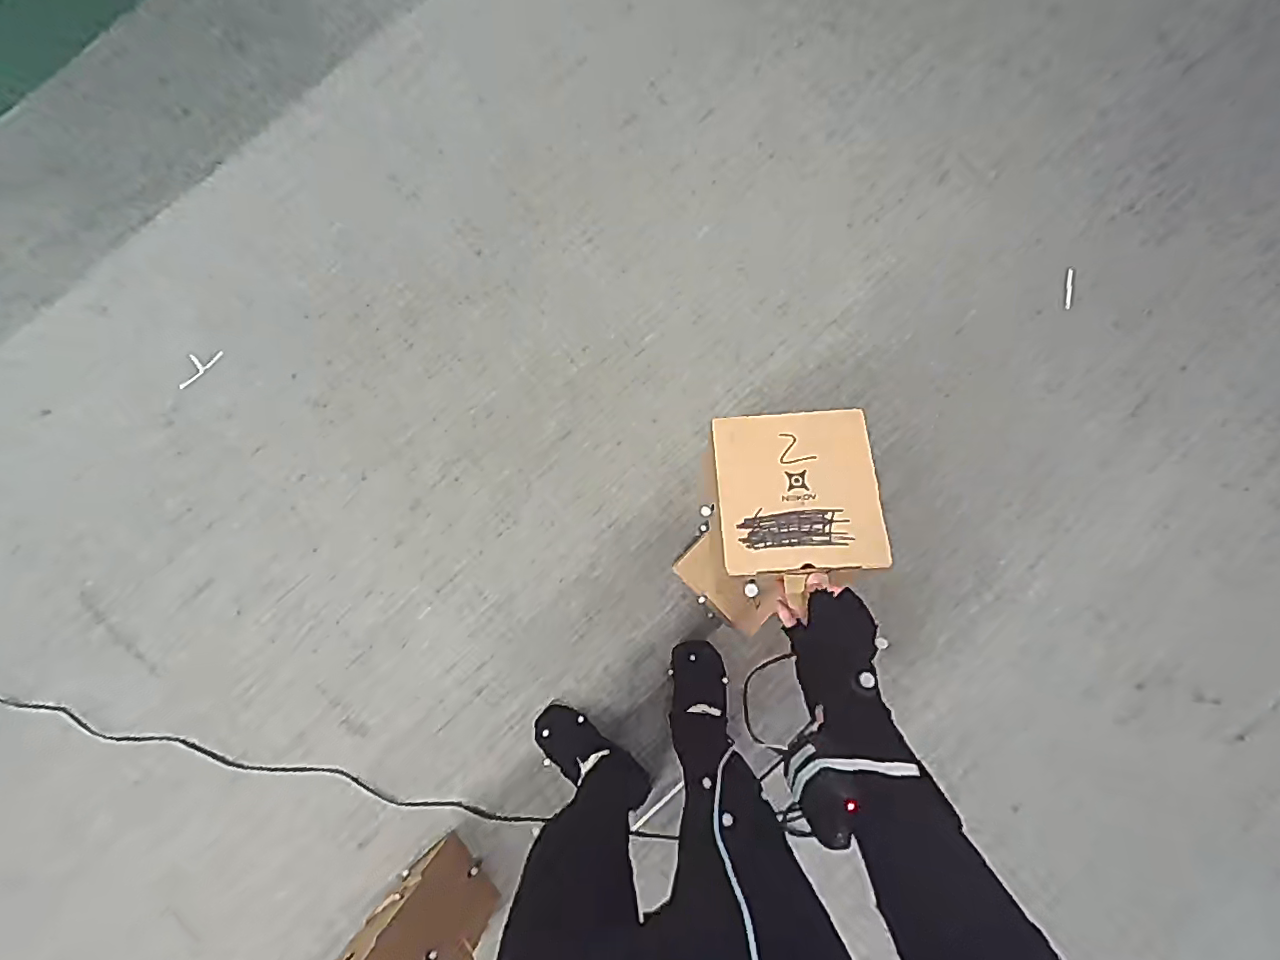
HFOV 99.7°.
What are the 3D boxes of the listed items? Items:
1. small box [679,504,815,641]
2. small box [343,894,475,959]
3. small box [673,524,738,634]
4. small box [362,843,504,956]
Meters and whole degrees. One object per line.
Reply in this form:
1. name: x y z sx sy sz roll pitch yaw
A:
1. small box: 0.185 0.169 1.001 0.168 0.176 0.179 -44 83 -3
2. small box: -0.423 0.874 0.939 0.168 0.176 0.179 -40 83 -2
3. small box: 0.188 0.201 1.163 0.168 0.176 0.179 -44 82 -4
4. small box: -0.412 0.889 1.105 0.168 0.176 0.179 -44 81 0
